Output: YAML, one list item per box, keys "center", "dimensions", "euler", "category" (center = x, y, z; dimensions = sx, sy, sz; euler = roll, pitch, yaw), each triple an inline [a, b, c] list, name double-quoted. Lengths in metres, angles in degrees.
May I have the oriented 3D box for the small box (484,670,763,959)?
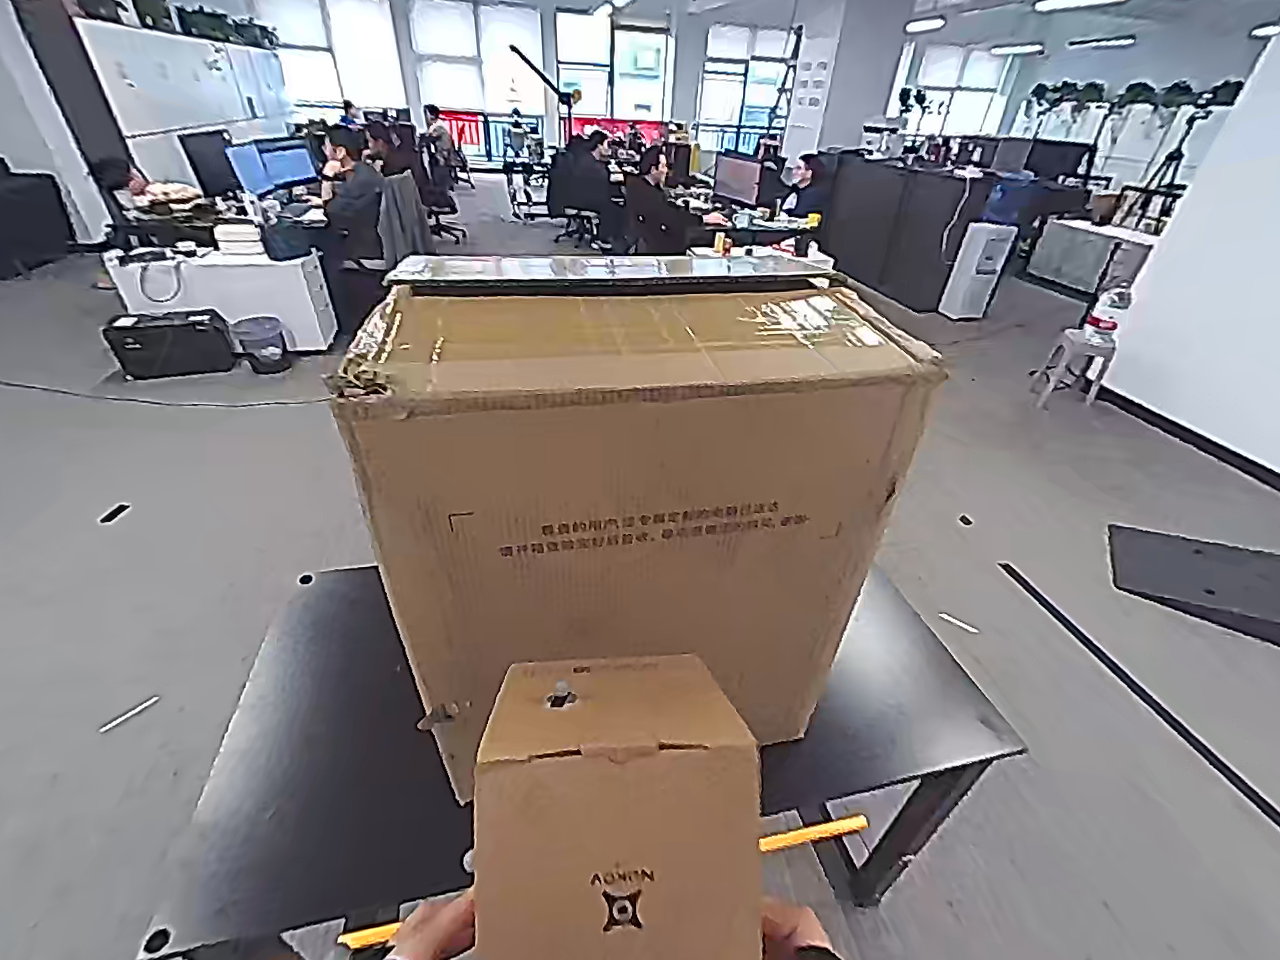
- center: [-0.018, 0.247, 0.396]
  dimensions: [0.168, 0.179, 0.176]
  euler: [-1, -3, -6]
  category: "small box"
